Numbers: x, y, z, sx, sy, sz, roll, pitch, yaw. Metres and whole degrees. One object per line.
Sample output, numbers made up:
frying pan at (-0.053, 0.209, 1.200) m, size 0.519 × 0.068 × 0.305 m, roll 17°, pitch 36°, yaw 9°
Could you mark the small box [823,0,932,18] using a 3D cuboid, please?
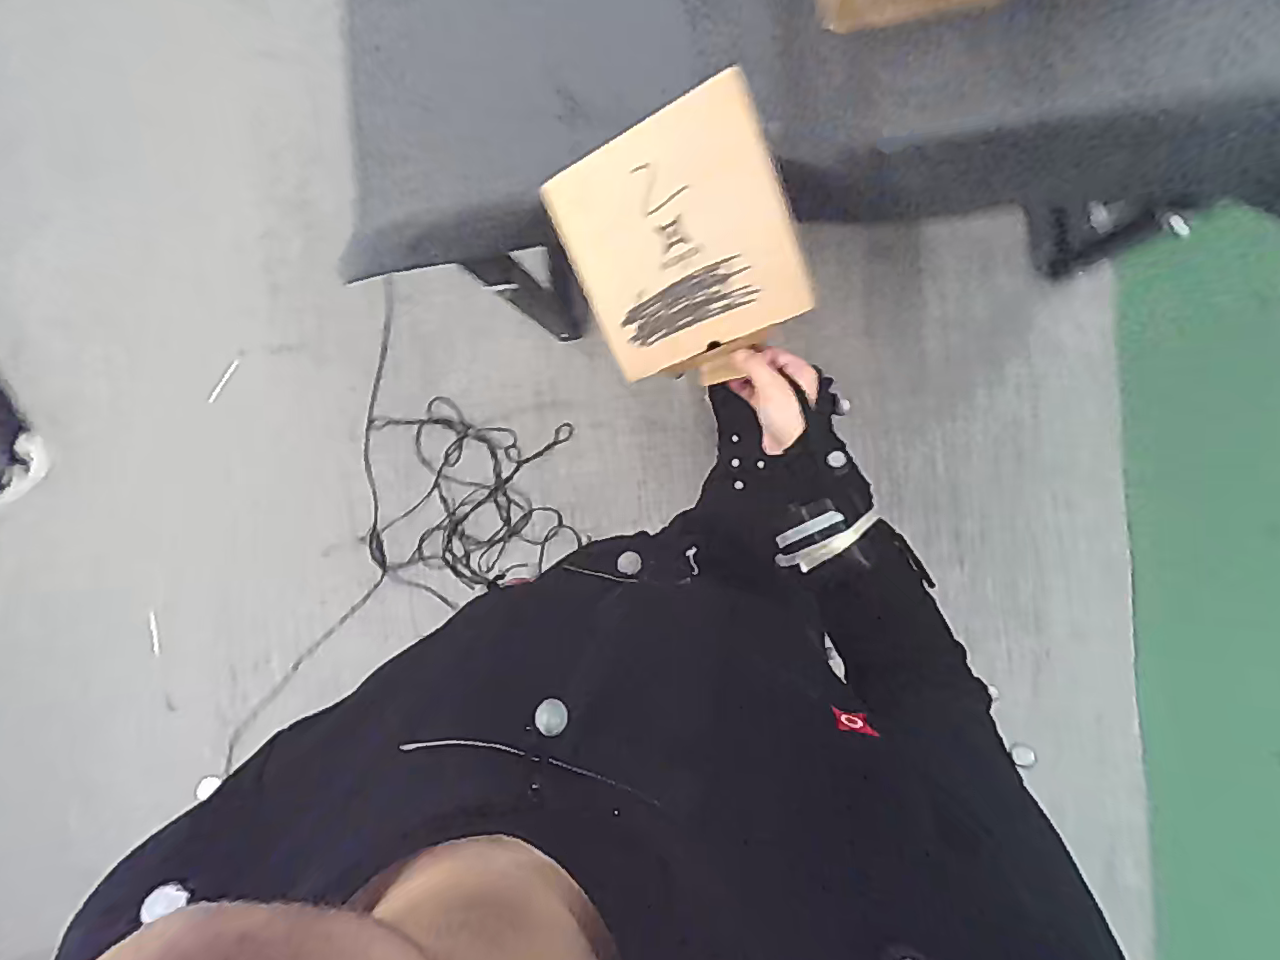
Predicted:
small box at (0.246, -0.559, 0.460) m, size 0.168 × 0.176 × 0.179 m, roll -7°, pitch 92°, yaw 7°
